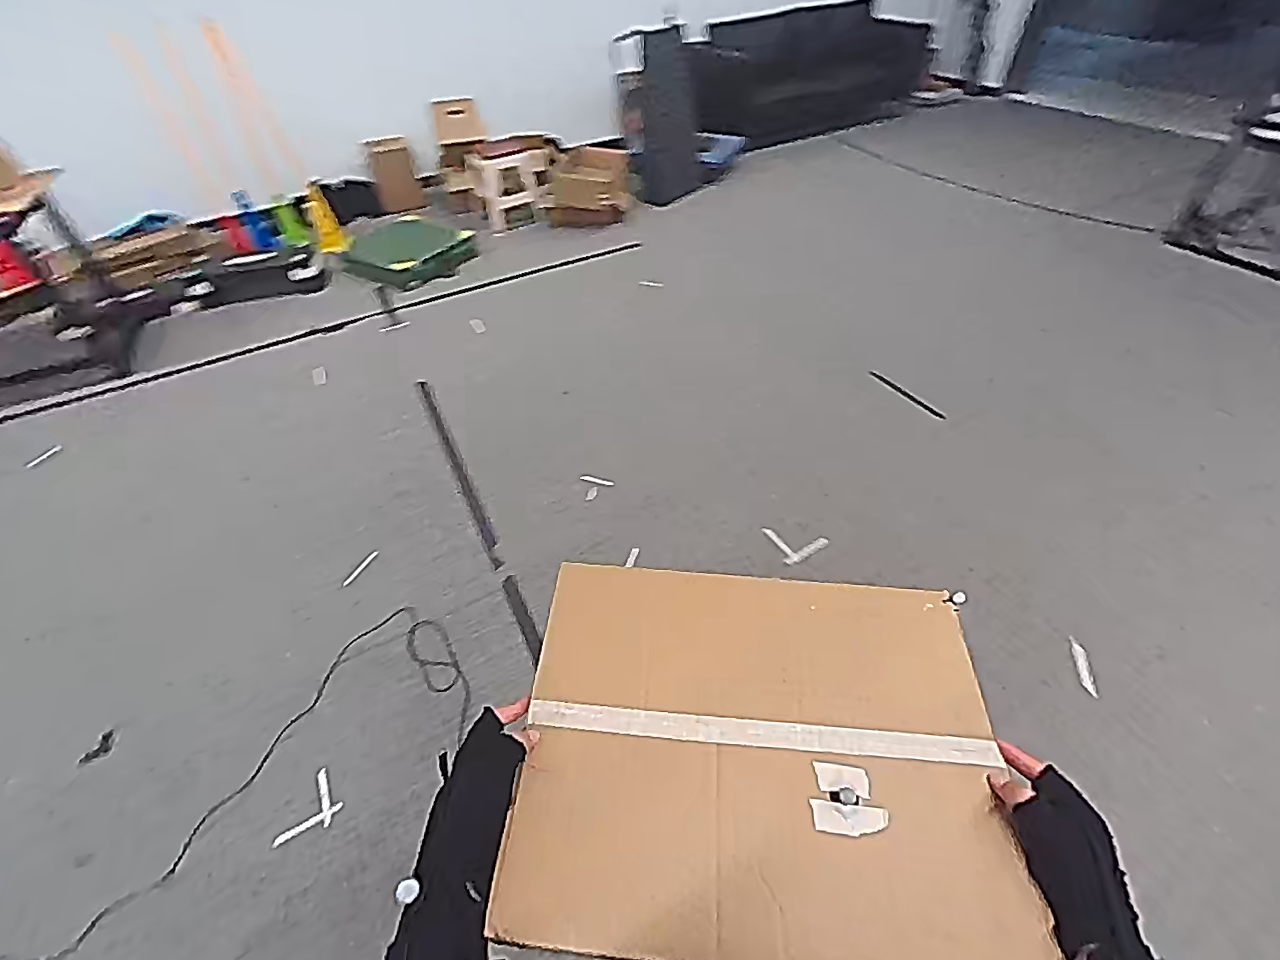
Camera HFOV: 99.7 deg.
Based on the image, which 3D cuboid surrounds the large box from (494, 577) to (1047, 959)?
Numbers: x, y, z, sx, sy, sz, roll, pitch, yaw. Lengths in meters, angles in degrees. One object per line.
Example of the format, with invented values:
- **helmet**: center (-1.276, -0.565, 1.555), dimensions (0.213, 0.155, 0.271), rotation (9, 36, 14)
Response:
- **large box**: center (0.098, 0.326, 0.590), dimensions (0.408, 0.320, 0.320), rotation (3, 50, 3)
